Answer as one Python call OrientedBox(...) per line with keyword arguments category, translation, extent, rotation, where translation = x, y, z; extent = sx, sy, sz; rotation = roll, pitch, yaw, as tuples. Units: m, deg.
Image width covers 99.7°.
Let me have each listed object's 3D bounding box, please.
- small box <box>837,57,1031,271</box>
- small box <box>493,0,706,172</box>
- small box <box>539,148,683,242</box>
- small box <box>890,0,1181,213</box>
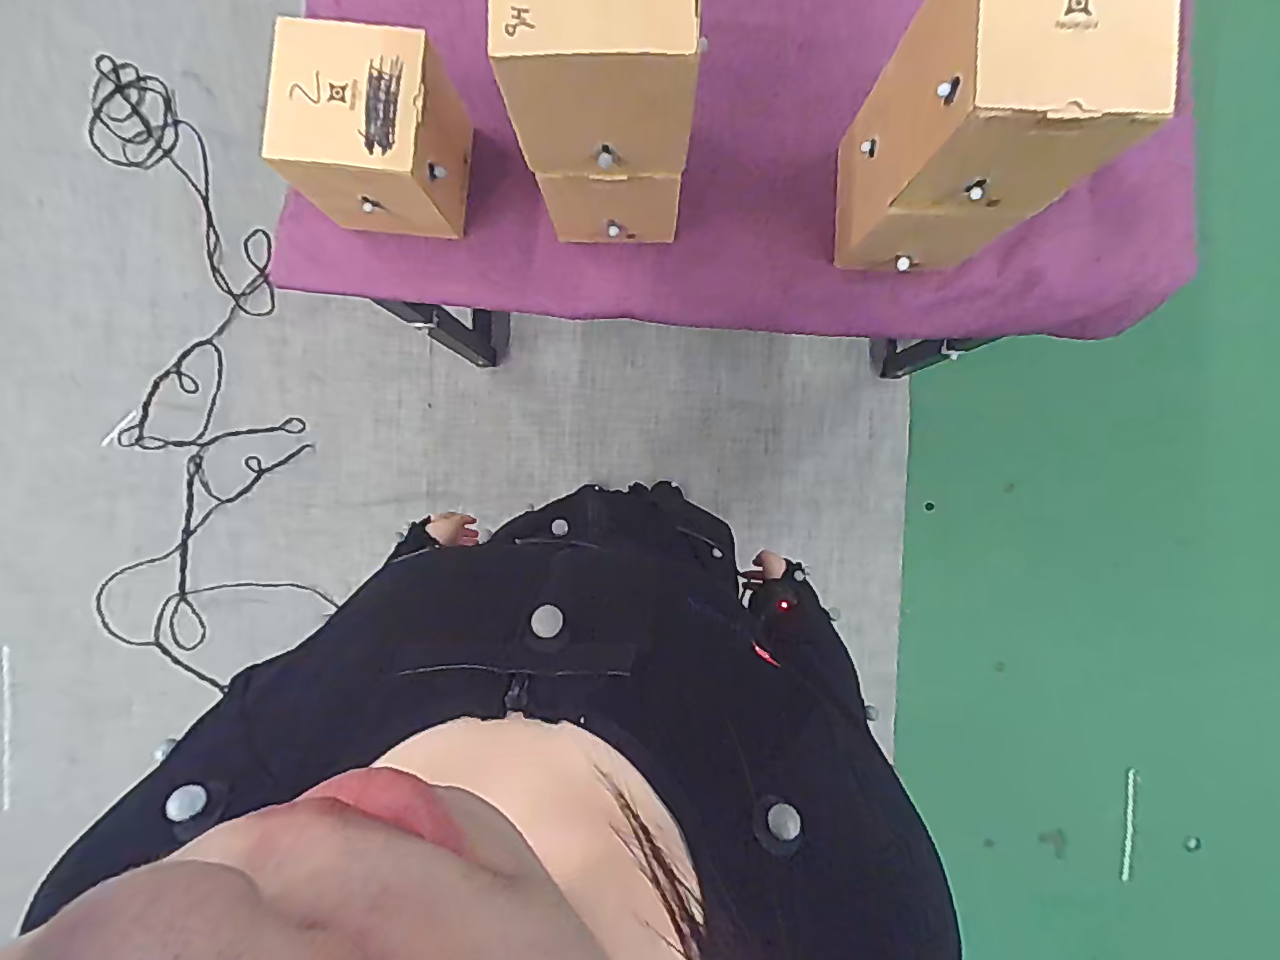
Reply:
OrientedBox(category="small box", translation=(0.361, -0.386, 0.687), extent=(0.168, 0.176, 0.179), rotation=(2, 91, 1))
OrientedBox(category="small box", translation=(-0.035, -0.426, 0.524), extent=(0.179, 0.176, 0.168), rotation=(0, 89, 0))
OrientedBox(category="small box", translation=(-0.032, -0.428, 0.688), extent=(0.168, 0.176, 0.179), rotation=(0, 90, 1))
OrientedBox(category="small box", translation=(0.361, -0.389, 0.524), extent=(0.168, 0.176, 0.179), rotation=(1, 91, 1))
